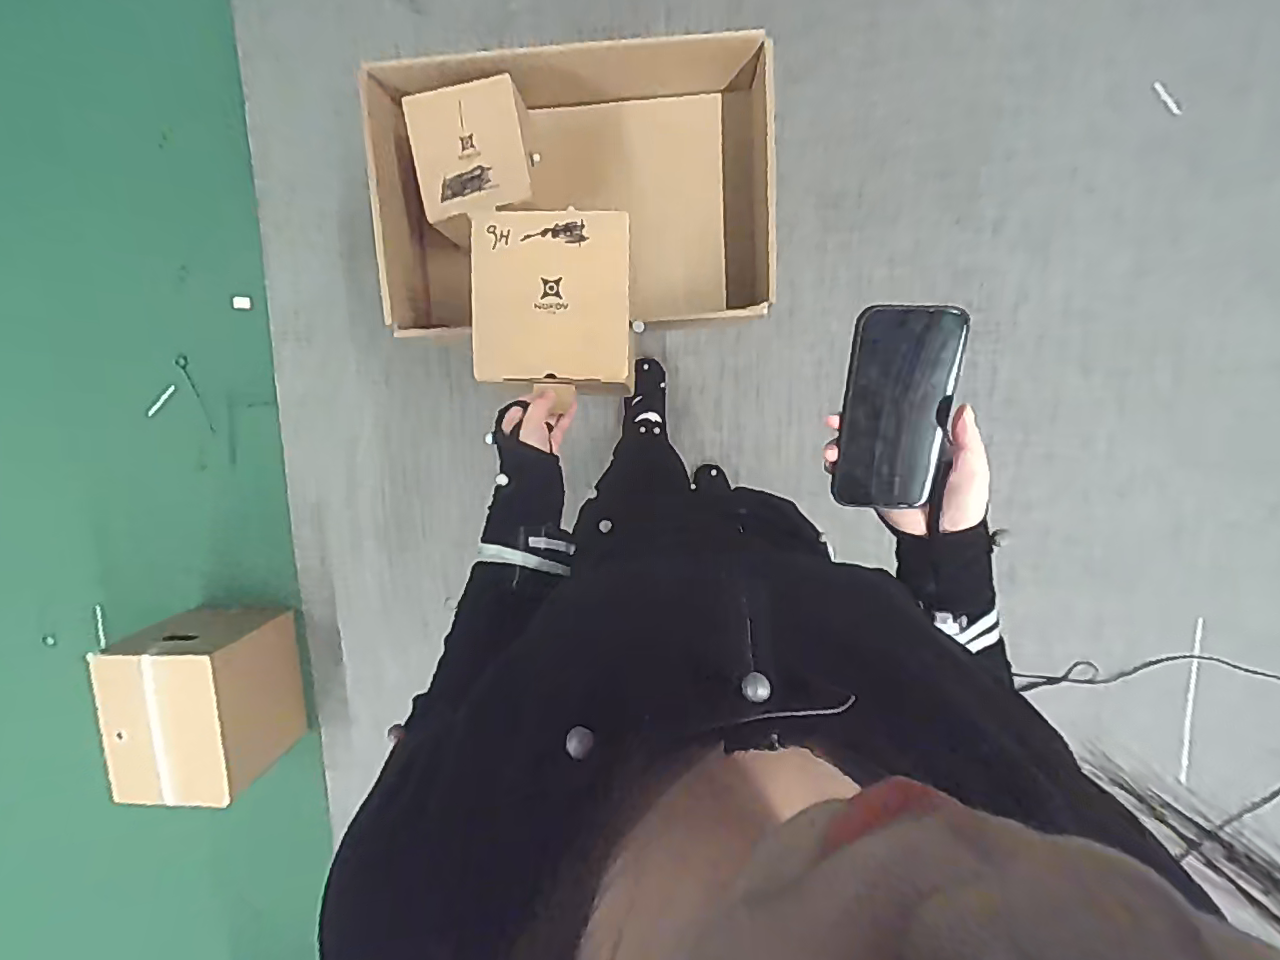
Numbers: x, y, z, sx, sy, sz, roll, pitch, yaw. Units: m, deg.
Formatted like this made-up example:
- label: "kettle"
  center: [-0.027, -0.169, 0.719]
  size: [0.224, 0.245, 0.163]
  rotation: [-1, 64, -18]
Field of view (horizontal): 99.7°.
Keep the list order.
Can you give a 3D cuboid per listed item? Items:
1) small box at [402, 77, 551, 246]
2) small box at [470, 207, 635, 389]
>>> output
- label: "small box"
  center: [-0.246, -0.489, 0.865]
  size: [0.168, 0.176, 0.179]
  rotation: [-9, 96, 5]
- label: "small box"
  center: [-0.092, -0.201, 0.643]
  size: [0.168, 0.176, 0.179]
  rotation: [1, 95, 2]
